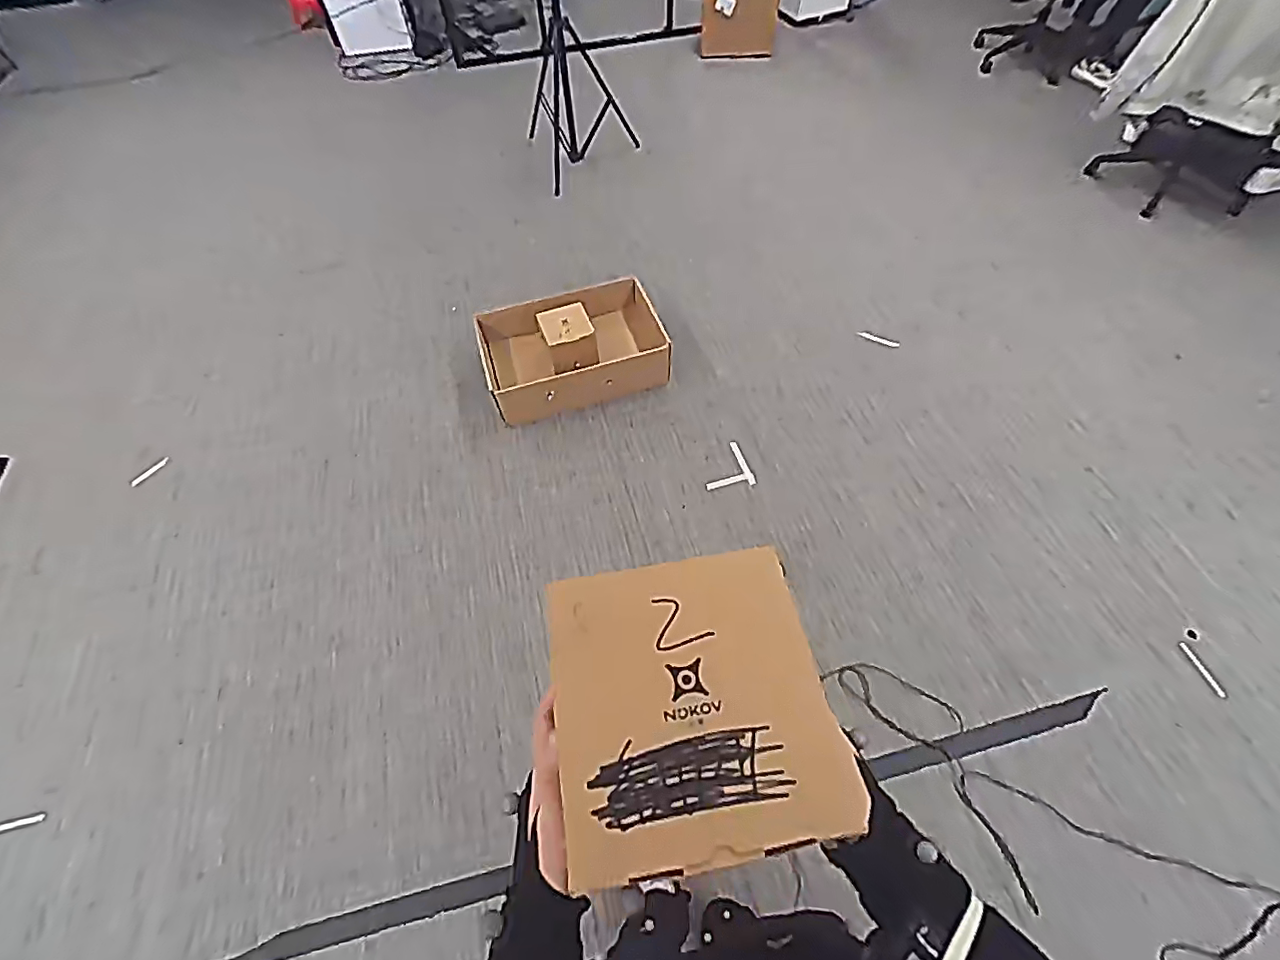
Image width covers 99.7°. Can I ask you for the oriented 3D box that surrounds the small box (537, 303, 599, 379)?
[{"bbox_3d":[-0.253,-0.487,1.908,0.168,0.176,0.179,-19,58,-9],"label":"small box"}]
